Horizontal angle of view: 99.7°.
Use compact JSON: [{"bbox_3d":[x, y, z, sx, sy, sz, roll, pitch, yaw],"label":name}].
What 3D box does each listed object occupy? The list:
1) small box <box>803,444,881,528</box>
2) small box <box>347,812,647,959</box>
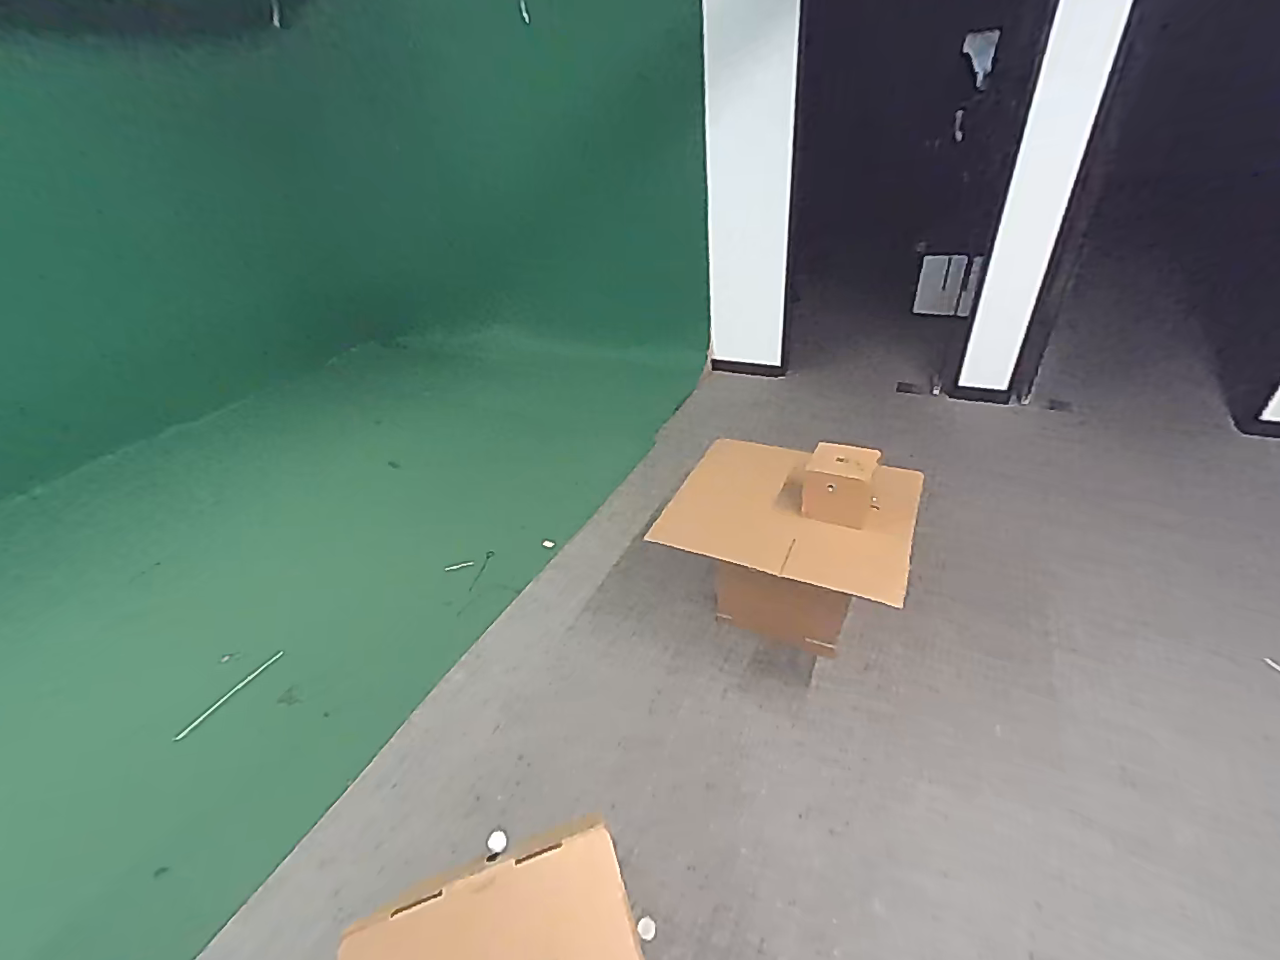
[{"bbox_3d":[0.581,0.017,1.563,0.179,0.176,0.168,13,39,29],"label":"small box"},{"bbox_3d":[-0.078,0.352,0.368,0.168,0.176,0.179,-15,62,-13],"label":"small box"}]
